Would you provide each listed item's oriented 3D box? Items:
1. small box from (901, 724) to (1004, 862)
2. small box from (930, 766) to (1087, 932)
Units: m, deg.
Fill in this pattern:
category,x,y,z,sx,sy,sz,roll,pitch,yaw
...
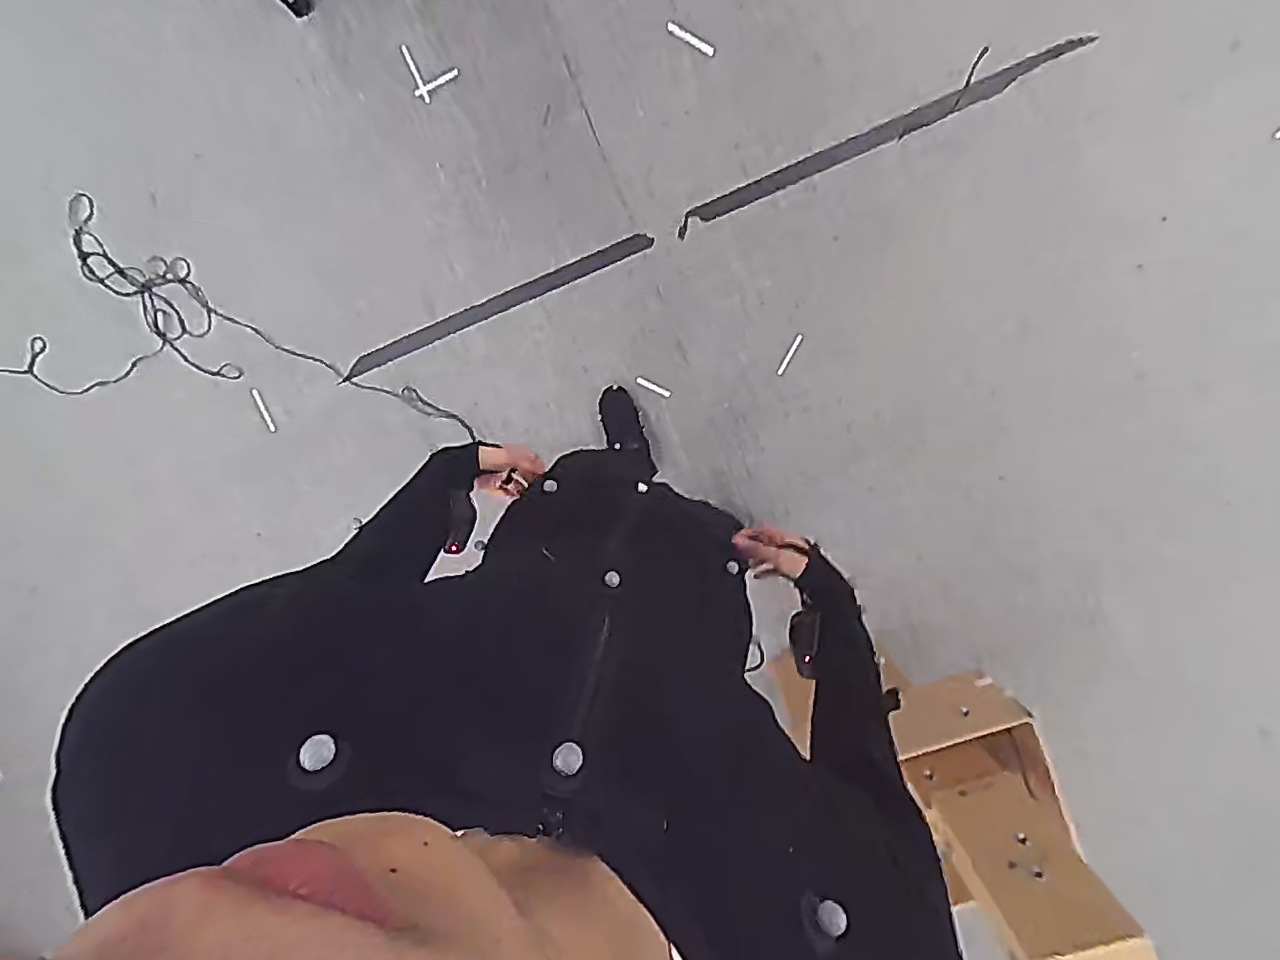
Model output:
category,x,y,z,sx,sy,sz,roll,pitch,yaw
small box,0.704,0.681,1.190,0.179,0.176,0.168,-27,98,7
small box,0.688,0.691,1.027,0.168,0.176,0.179,-22,99,7
